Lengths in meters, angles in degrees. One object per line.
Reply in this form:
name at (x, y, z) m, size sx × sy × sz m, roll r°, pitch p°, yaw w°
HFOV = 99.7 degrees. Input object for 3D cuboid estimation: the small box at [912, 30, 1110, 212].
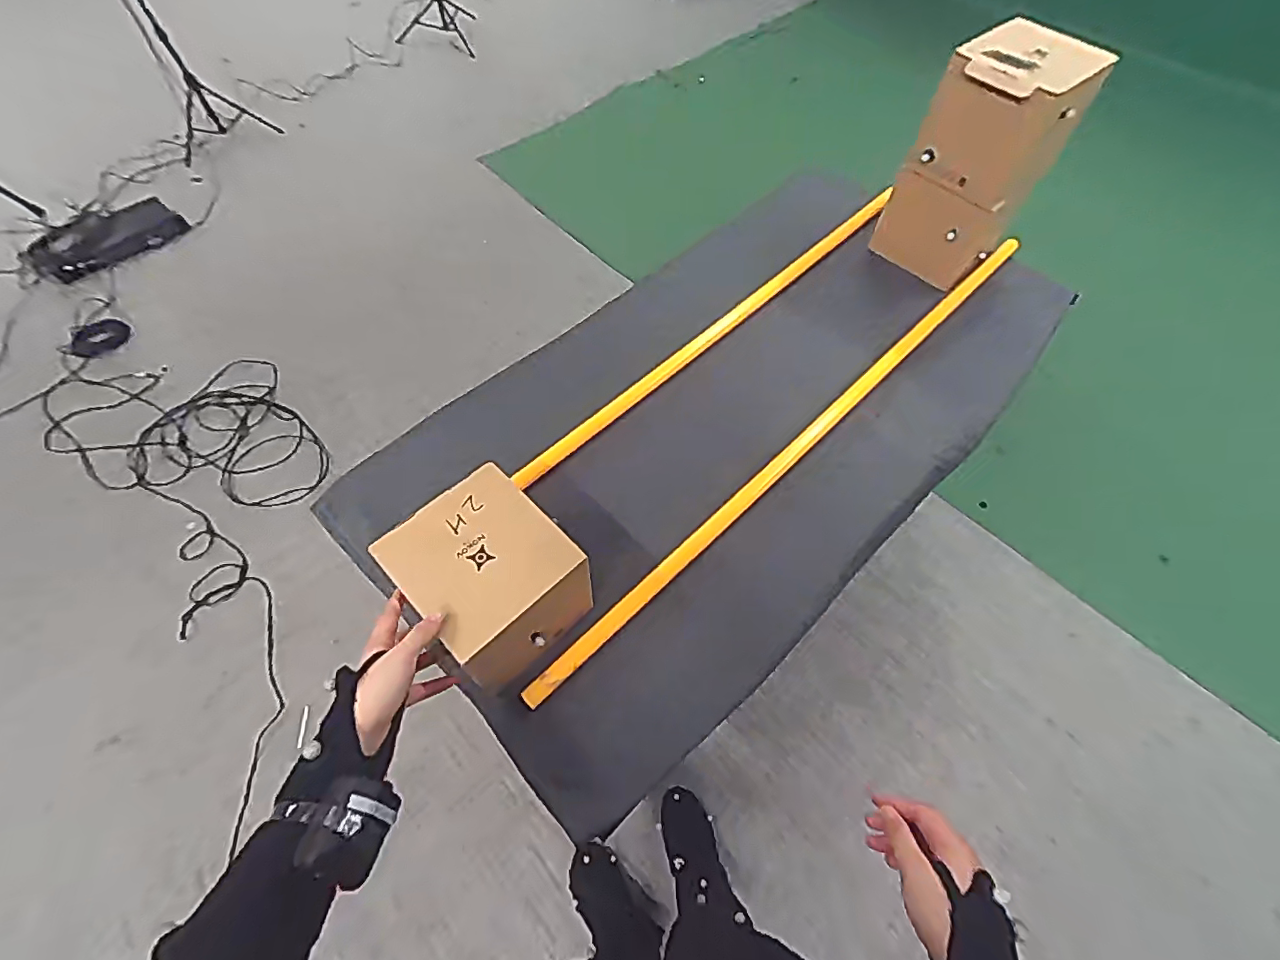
small box at (0.569, -0.564, 0.860) m, size 0.179 × 0.176 × 0.168 m, roll -36°, pitch 67°, yaw -19°

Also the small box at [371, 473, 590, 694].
small box at (-0.173, 0.131, 0.645) m, size 0.179 × 0.176 × 0.168 m, roll 41°, pitch 64°, yaw 21°
